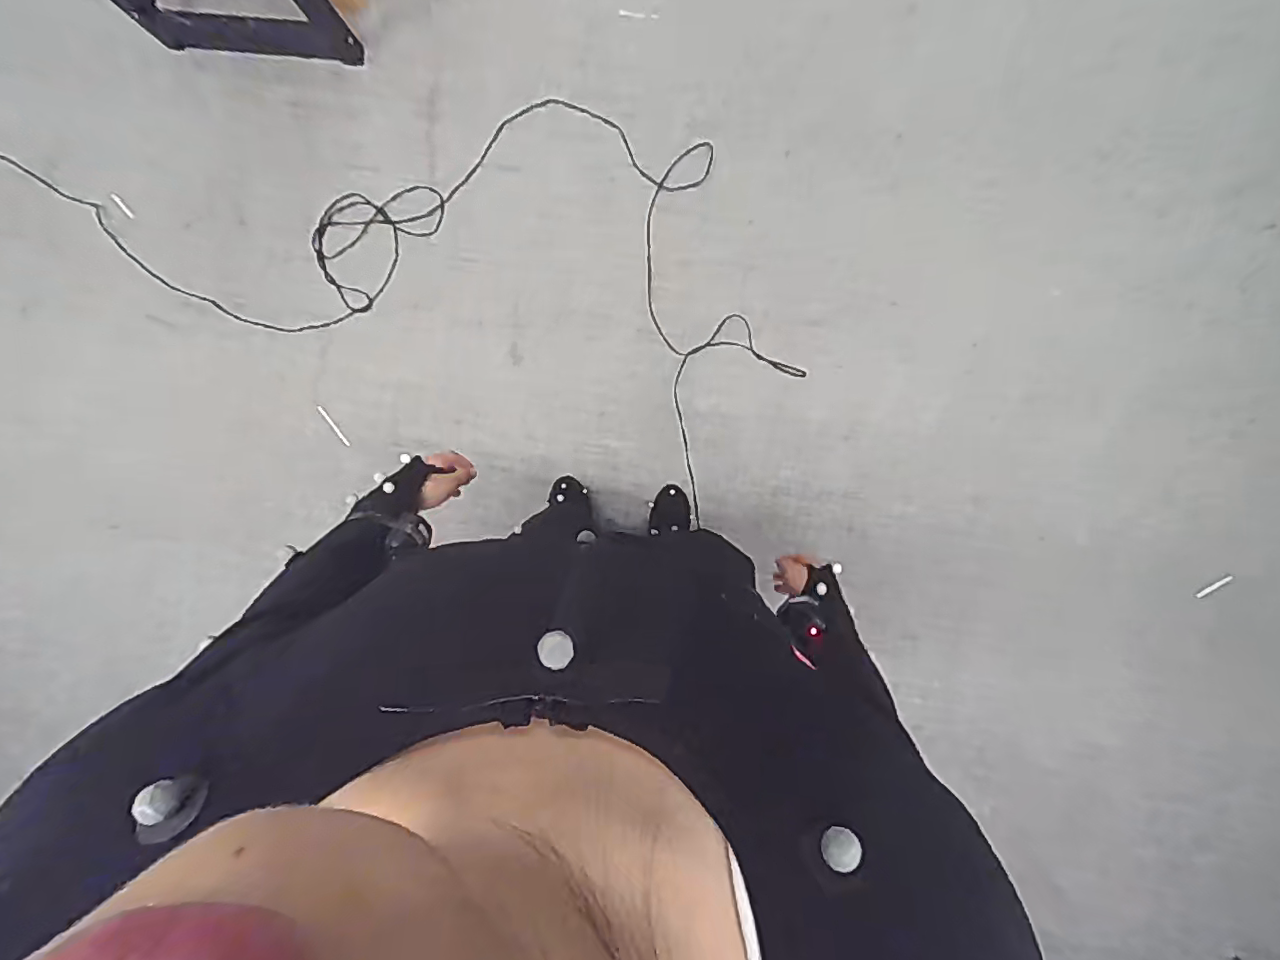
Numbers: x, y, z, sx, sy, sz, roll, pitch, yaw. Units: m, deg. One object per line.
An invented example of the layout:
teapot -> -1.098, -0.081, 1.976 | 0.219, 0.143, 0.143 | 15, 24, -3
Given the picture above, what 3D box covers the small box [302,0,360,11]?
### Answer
small box -> -0.838, -1.375, 1.405 | 0.179, 0.176, 0.168 | 12, 93, 3
